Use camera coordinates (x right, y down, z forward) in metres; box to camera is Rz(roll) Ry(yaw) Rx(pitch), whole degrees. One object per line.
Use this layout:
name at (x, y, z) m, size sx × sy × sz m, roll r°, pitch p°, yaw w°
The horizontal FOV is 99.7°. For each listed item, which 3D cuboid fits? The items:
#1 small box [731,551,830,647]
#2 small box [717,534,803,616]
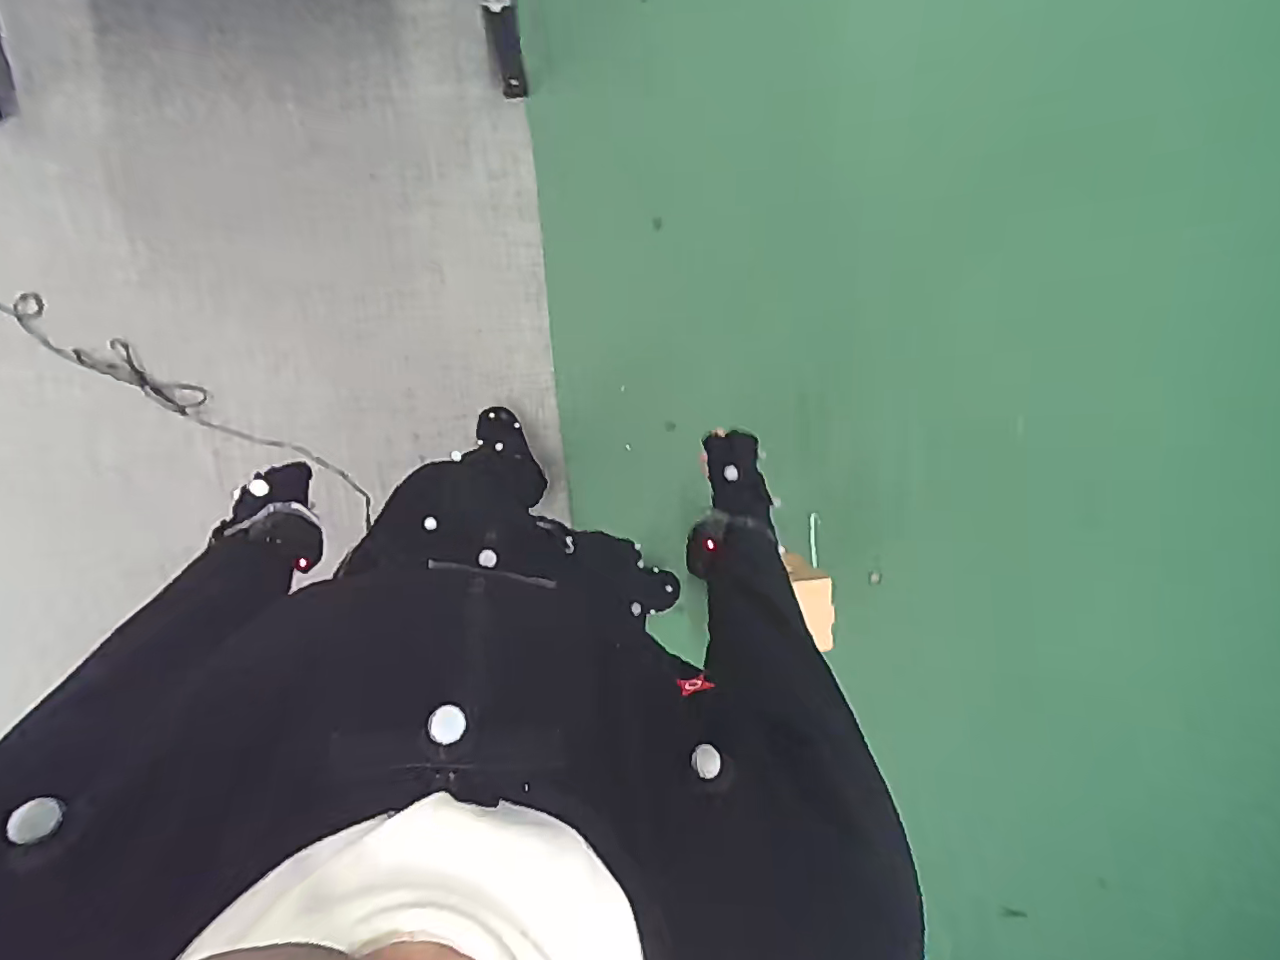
small box at (0.321, 0.267, 1.253) m, size 0.179 × 0.176 × 0.168 m, roll -5°, pitch 99°, yaw -6°
small box at (0.305, 0.240, 1.395) m, size 0.179 × 0.176 × 0.168 m, roll -4°, pitch 98°, yaw -5°
